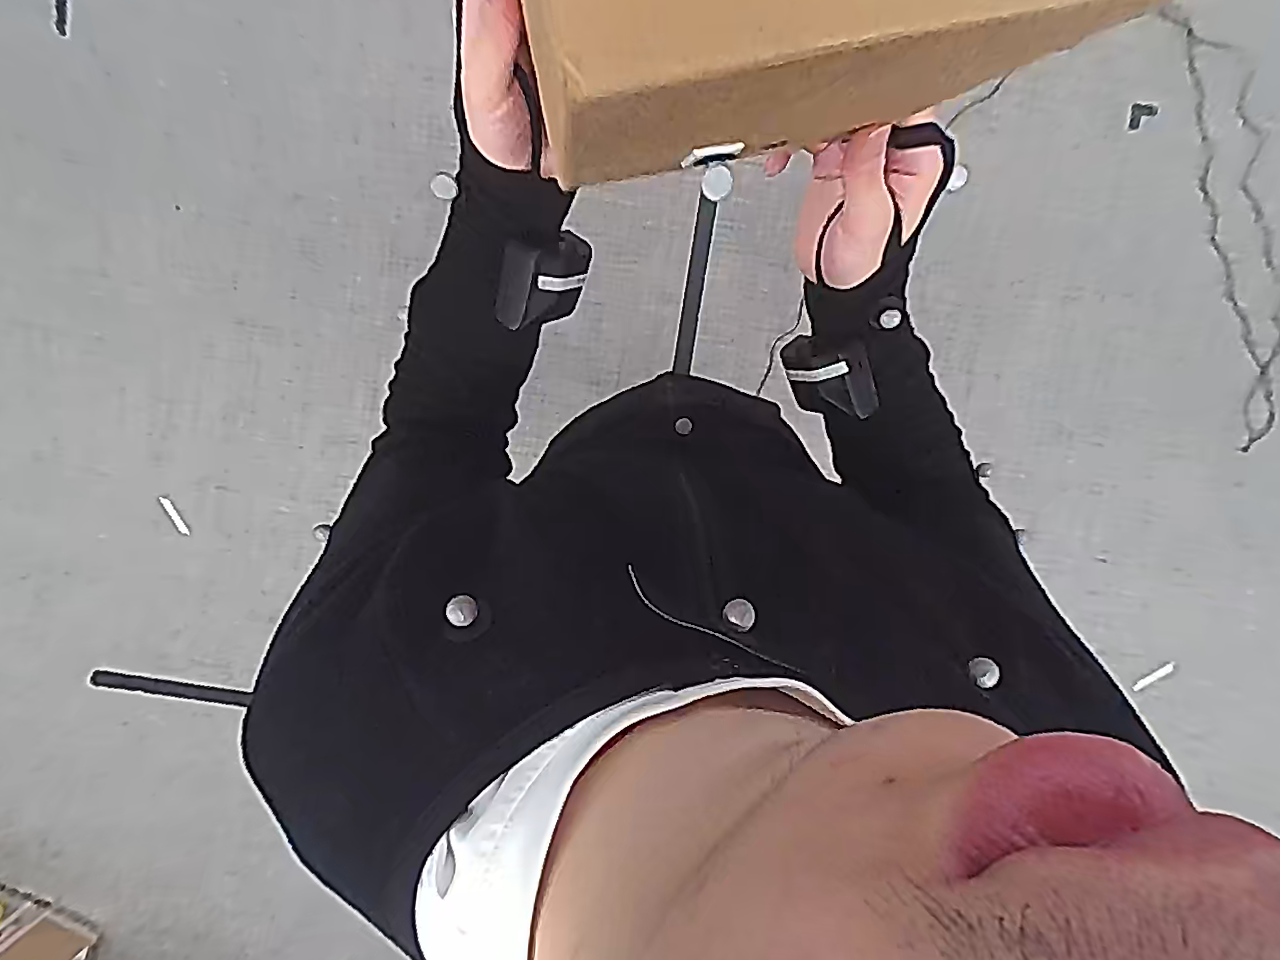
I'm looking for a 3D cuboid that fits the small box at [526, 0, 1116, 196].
[{"bbox_3d":[0.035,-0.218,0.182,0.168,0.176,0.179,-15,112,-1],"label":"small box"}]
